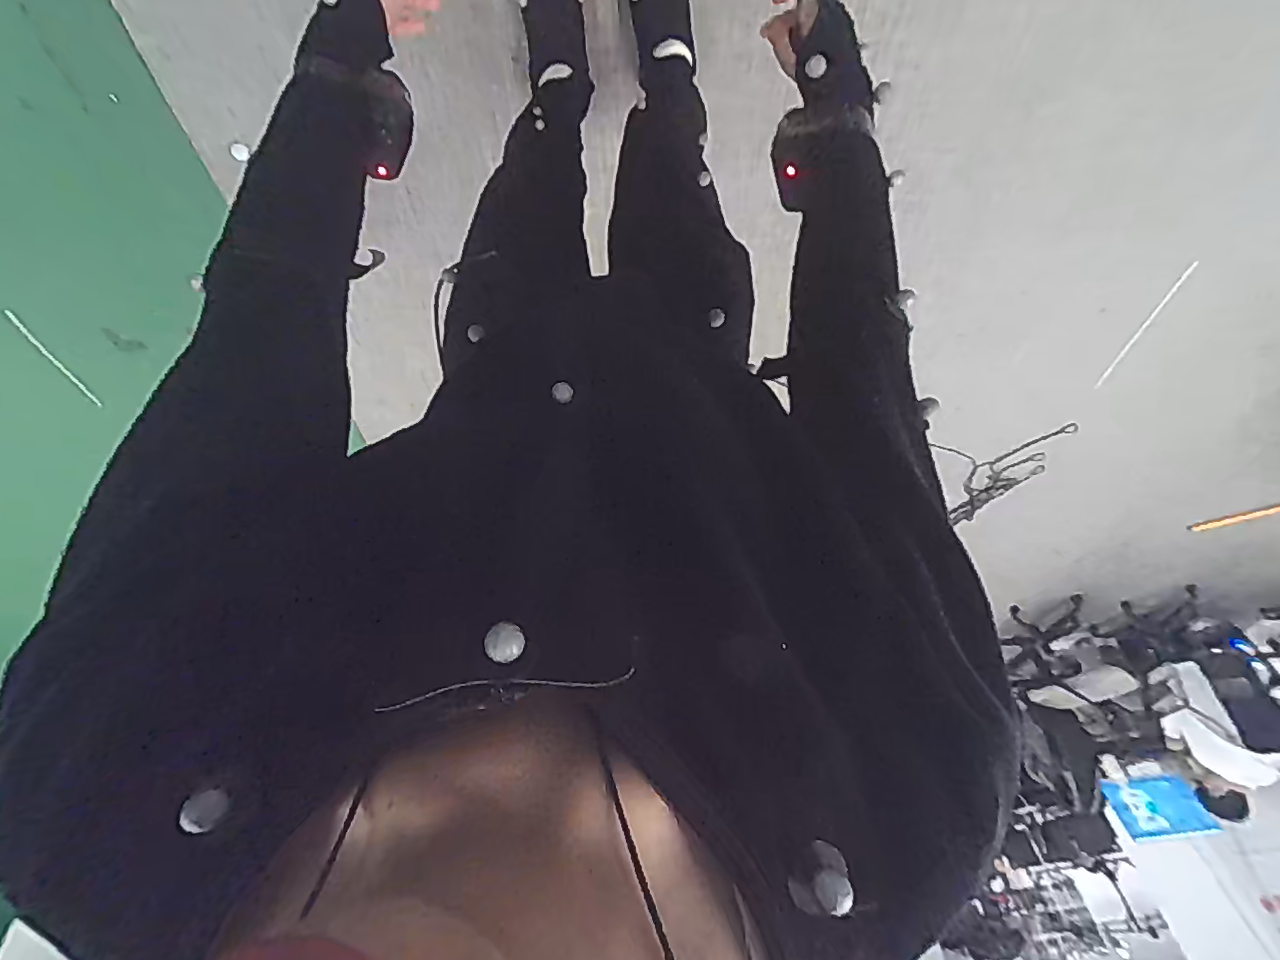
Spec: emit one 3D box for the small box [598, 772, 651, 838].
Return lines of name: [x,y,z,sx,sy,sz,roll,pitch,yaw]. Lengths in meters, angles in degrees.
small box: [-0.057,1.121,1.868,0.168,0.176,0.179,-4,142,-5]
